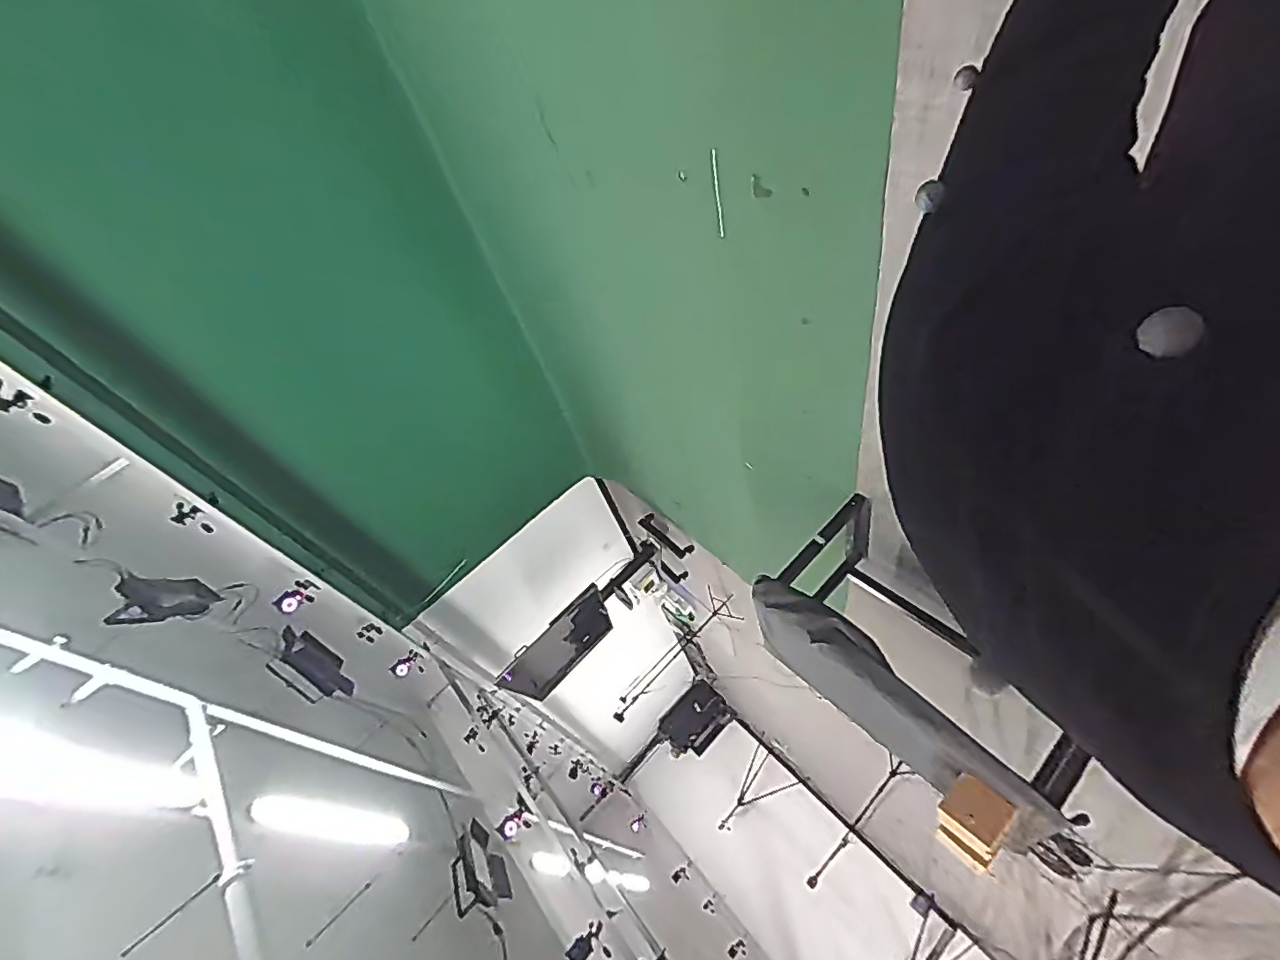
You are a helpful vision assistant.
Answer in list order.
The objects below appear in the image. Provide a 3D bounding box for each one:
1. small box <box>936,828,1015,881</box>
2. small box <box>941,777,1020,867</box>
[{"bbox_3d":[1.250,1.345,2.019,0.179,0.176,0.168,36,159,39],"label":"small box"},{"bbox_3d":[1.157,1.157,1.837,0.179,0.176,0.168,32,157,48],"label":"small box"}]
